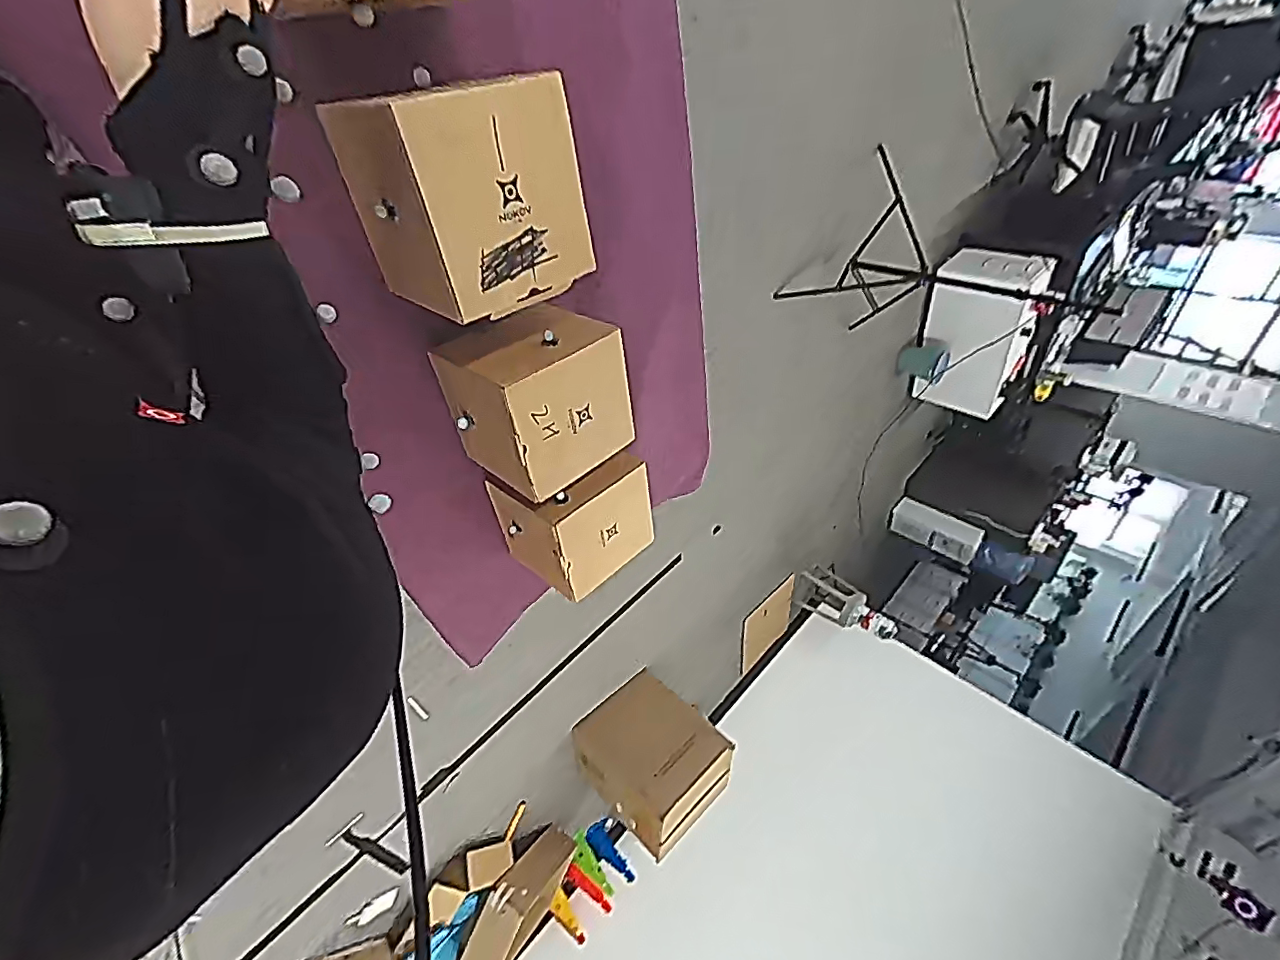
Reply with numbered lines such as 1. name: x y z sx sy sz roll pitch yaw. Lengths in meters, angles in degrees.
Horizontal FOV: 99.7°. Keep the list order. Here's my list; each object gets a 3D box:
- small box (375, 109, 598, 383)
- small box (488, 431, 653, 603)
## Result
1. small box: -0.152 -0.239 0.572 0.168 0.176 0.179 -20 138 14
2. small box: -0.103 0.047 0.841 0.179 0.176 0.168 -35 136 -30
